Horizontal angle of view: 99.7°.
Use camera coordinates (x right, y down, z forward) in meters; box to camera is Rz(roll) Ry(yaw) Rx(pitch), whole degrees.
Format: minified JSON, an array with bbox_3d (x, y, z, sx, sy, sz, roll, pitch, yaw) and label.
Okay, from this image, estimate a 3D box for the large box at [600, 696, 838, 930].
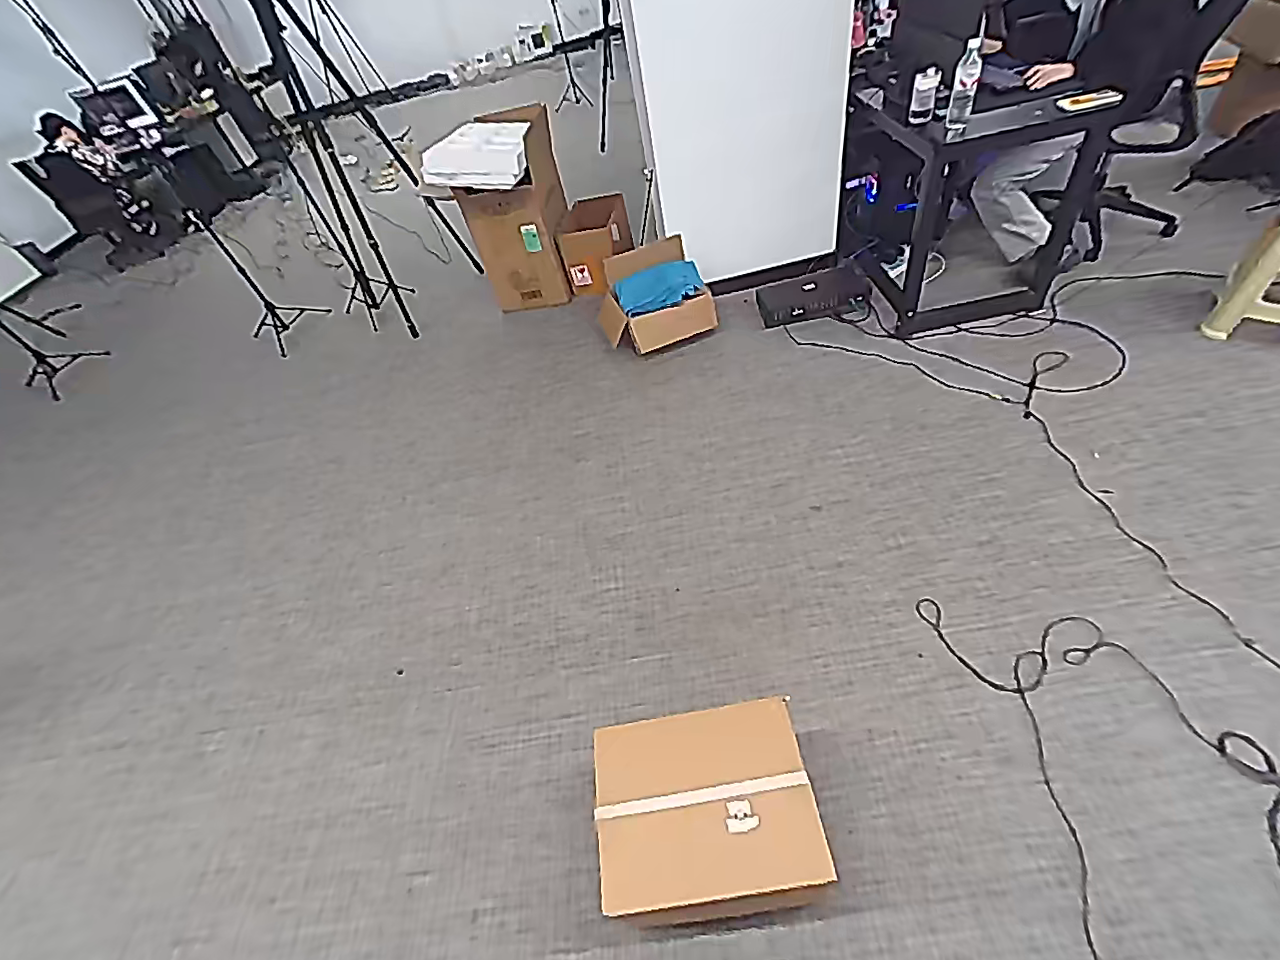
[{"bbox_3d":[0.151,0.697,1.126,0.408,0.320,0.320,-12,46,3],"label":"large box"}]
